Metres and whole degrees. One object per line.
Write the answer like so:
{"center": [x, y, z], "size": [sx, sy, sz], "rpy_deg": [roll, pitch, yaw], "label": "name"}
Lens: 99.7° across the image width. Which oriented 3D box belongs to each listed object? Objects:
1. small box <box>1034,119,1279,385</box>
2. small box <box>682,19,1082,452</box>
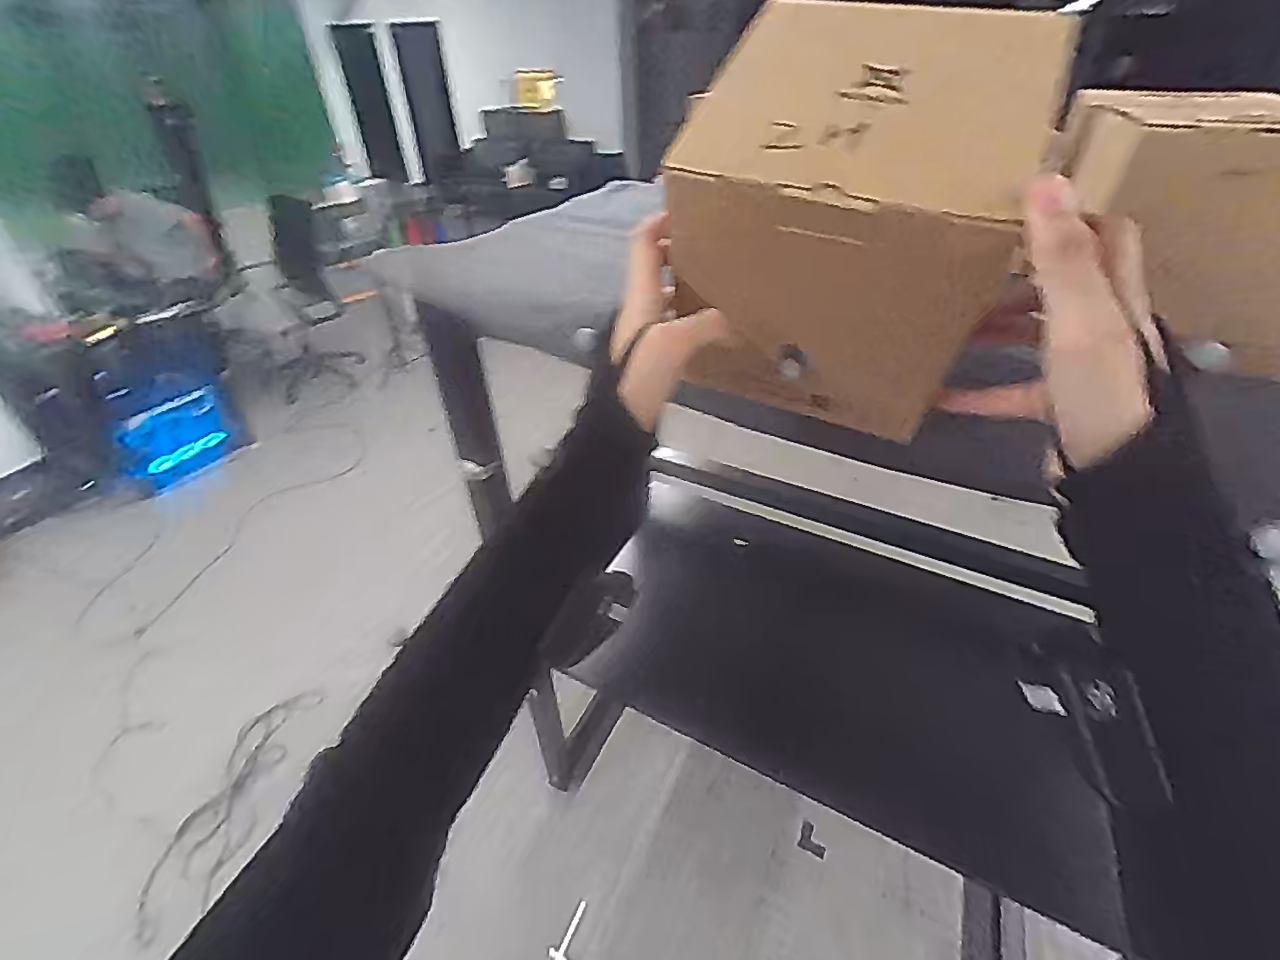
{"center": [0.467, -0.199, 0.460], "size": [0.168, 0.176, 0.179], "rpy_deg": [17, 41, 21], "label": "small box"}
{"center": [0.136, -0.150, 0.350], "size": [0.168, 0.176, 0.179], "rpy_deg": [21, 66, 18], "label": "small box"}
